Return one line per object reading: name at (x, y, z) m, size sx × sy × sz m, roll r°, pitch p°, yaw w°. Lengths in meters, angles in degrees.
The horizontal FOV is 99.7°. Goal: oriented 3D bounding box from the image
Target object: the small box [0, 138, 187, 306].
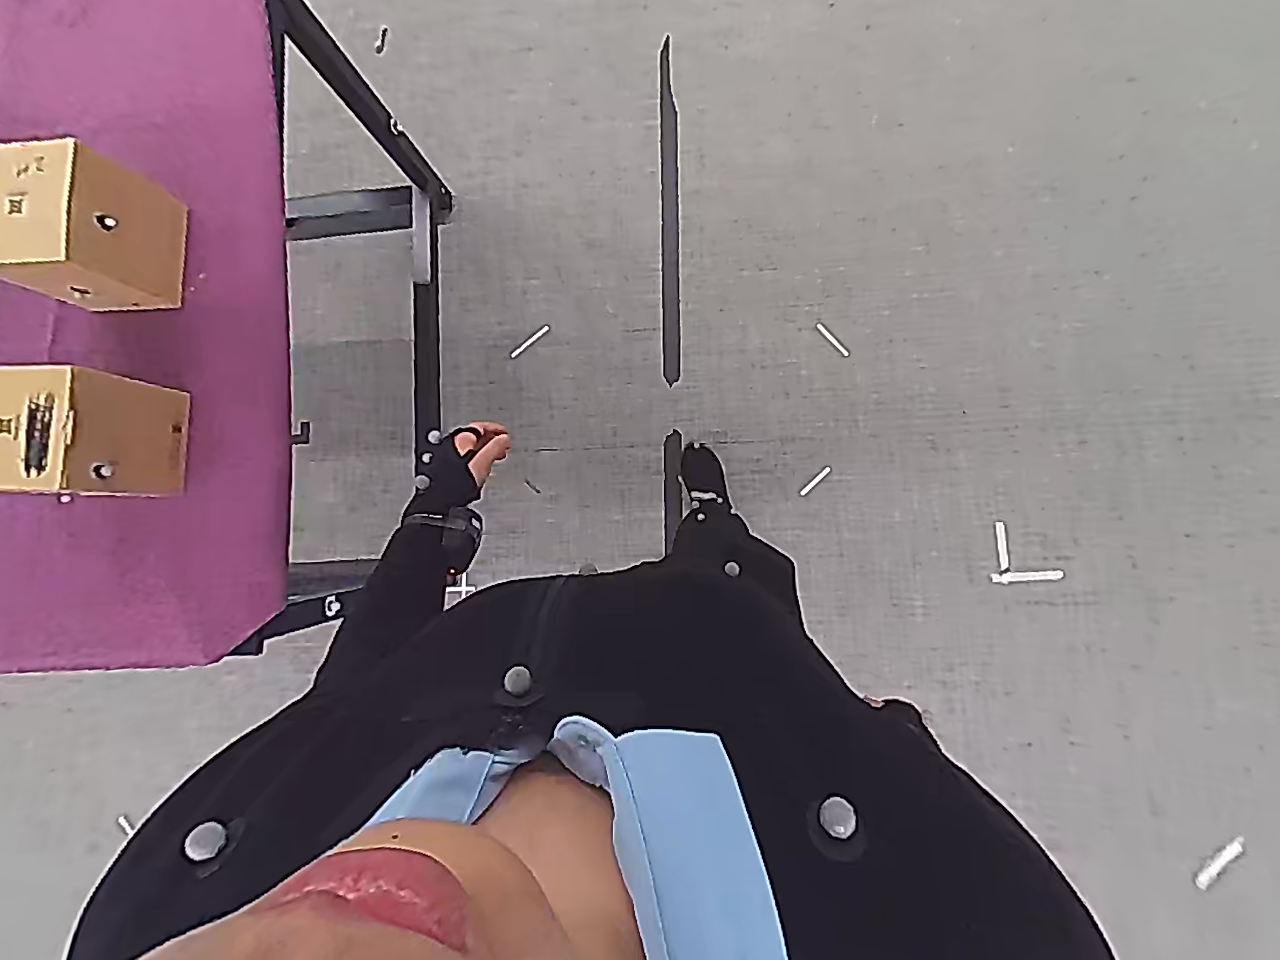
small box at (-0.830, -0.371, 0.810) m, size 0.168 × 0.176 × 0.179 m, roll 1°, pitch 85°, yaw 6°
